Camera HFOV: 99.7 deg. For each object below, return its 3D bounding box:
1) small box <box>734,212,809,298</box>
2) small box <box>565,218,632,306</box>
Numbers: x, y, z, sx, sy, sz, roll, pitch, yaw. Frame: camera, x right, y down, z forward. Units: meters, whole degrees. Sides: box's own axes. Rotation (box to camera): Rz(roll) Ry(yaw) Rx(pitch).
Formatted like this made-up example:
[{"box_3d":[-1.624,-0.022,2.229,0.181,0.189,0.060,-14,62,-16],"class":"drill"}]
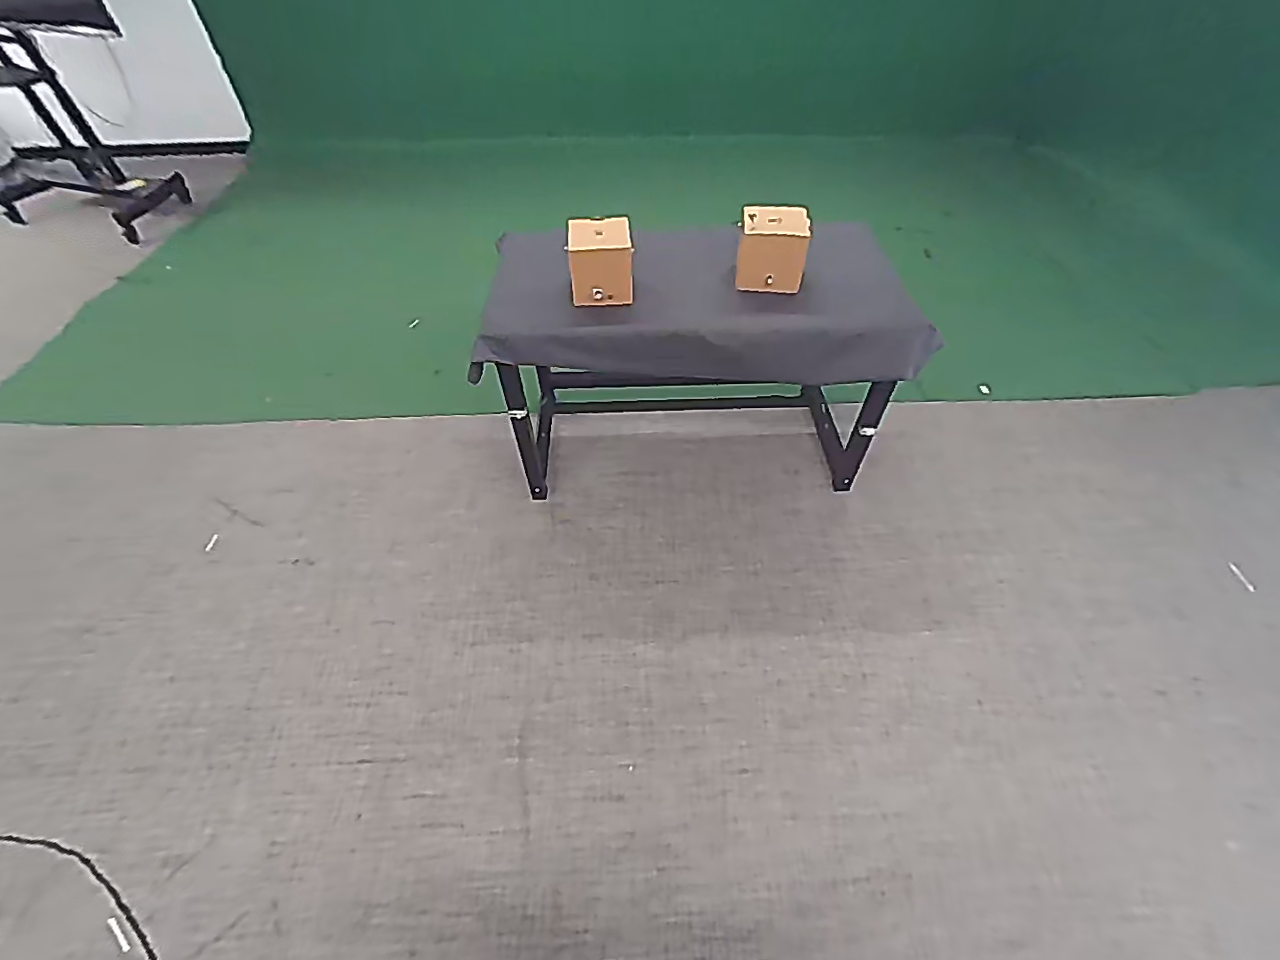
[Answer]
[{"box_3d":[0.369,-0.637,1.541,0.179,0.176,0.168,5,50,4],"class":"small box"},{"box_3d":[-0.110,-0.601,1.493,0.168,0.176,0.179,-3,50,0],"class":"small box"}]
